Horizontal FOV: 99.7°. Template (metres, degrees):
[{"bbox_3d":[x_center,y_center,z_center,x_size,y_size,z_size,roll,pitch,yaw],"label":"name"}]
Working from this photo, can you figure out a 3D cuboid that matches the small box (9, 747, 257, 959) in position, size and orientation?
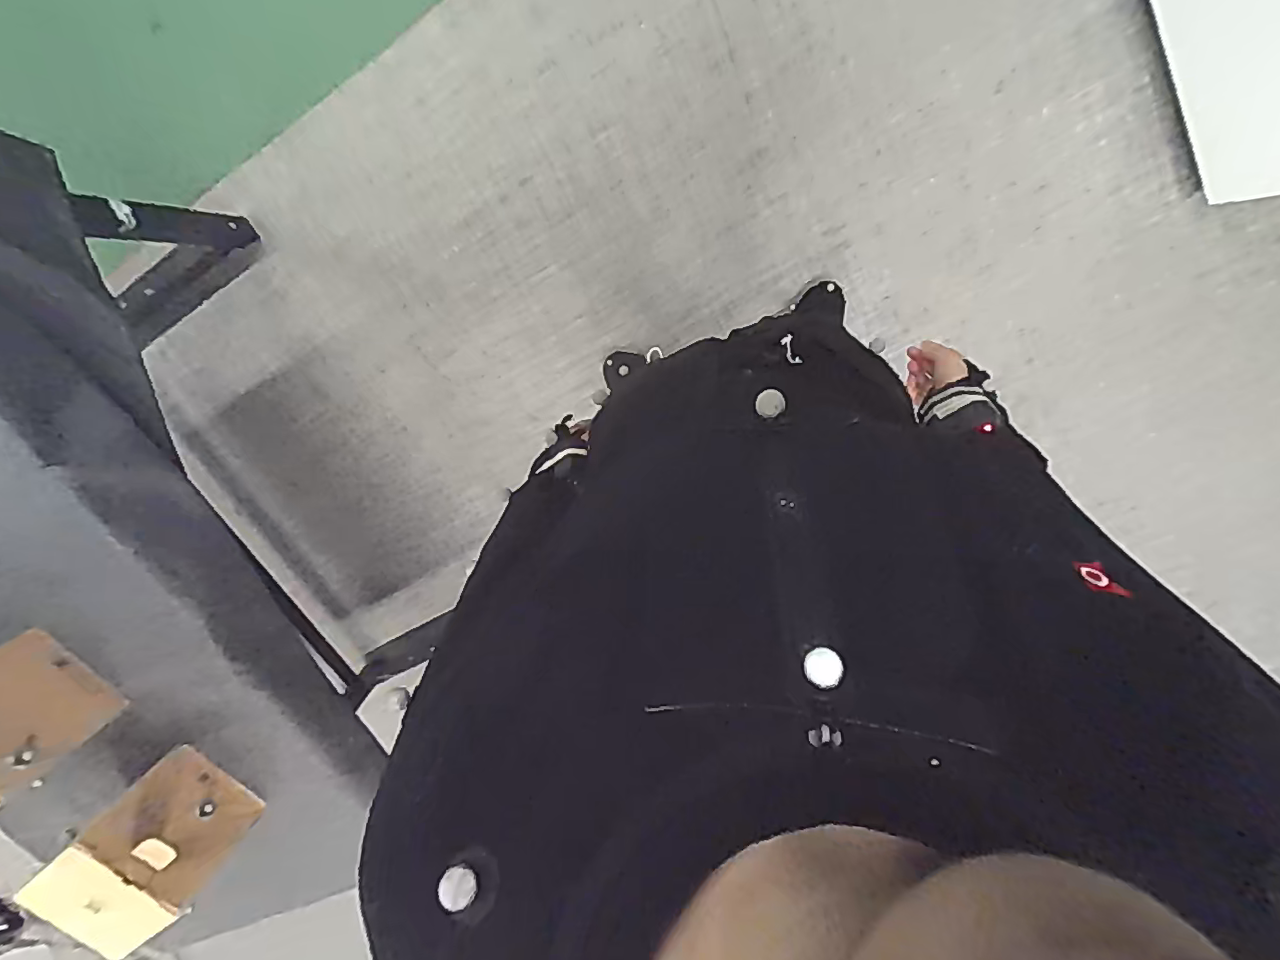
[{"bbox_3d":[-0.714,0.534,0.783,0.179,0.176,0.168,-38,103,16],"label":"small box"}]
